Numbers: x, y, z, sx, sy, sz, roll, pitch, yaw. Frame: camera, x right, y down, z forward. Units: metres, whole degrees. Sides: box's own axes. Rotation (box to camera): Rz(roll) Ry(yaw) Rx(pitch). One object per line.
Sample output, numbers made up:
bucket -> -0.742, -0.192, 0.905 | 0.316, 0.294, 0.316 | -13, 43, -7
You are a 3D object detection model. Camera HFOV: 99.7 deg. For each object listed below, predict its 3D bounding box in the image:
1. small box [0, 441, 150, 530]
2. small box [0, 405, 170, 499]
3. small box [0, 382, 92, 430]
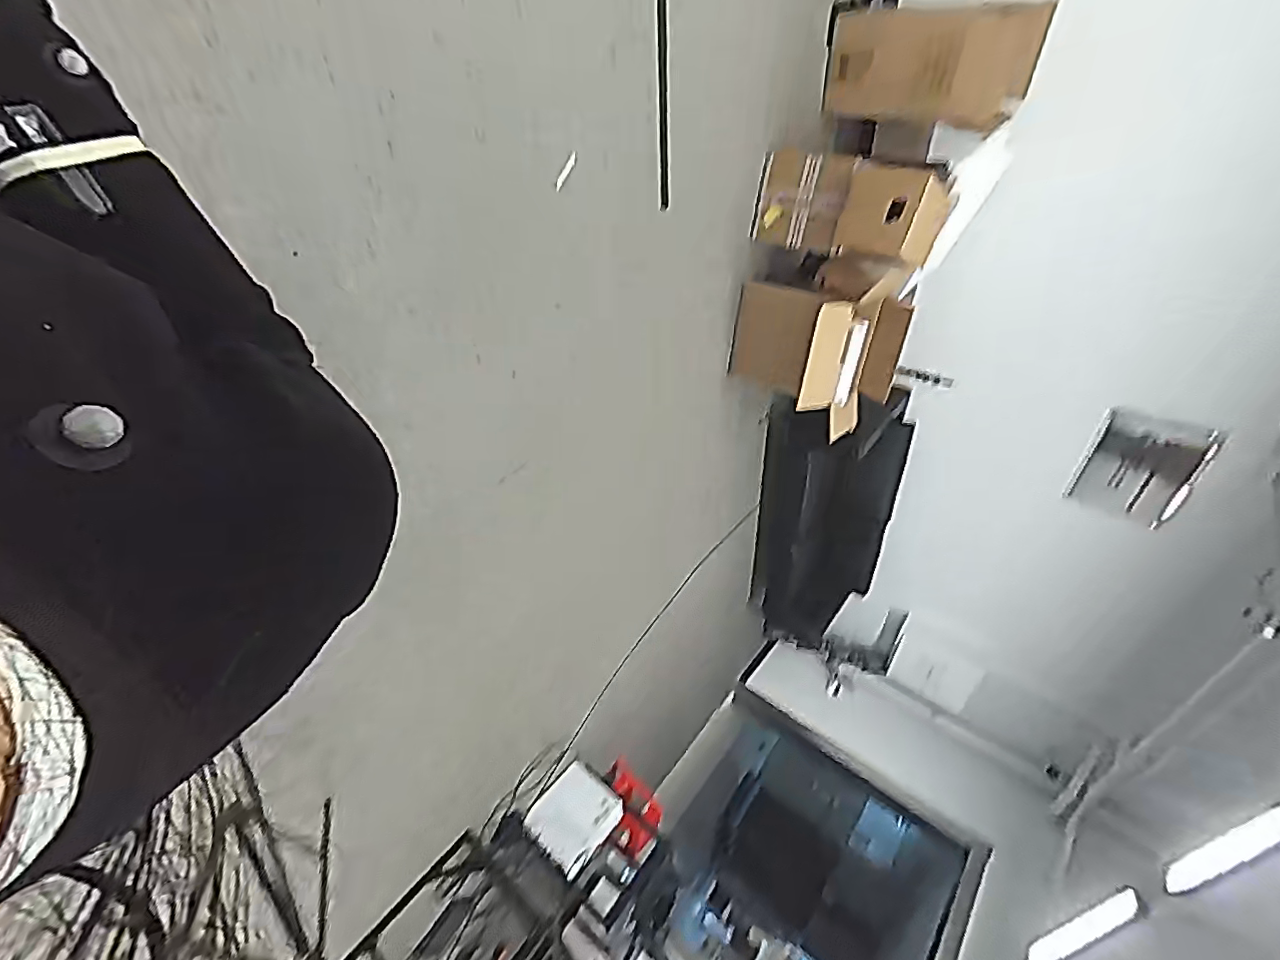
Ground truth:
small box -> -0.872, 0.054, 0.861 | 0.168, 0.176, 0.179 | -37, 138, -37
small box -> -0.993, -0.012, 0.949 | 0.179, 0.176, 0.168 | -37, 138, -38
small box -> -1.124, -0.066, 1.032 | 0.179, 0.176, 0.168 | -39, 140, -36
